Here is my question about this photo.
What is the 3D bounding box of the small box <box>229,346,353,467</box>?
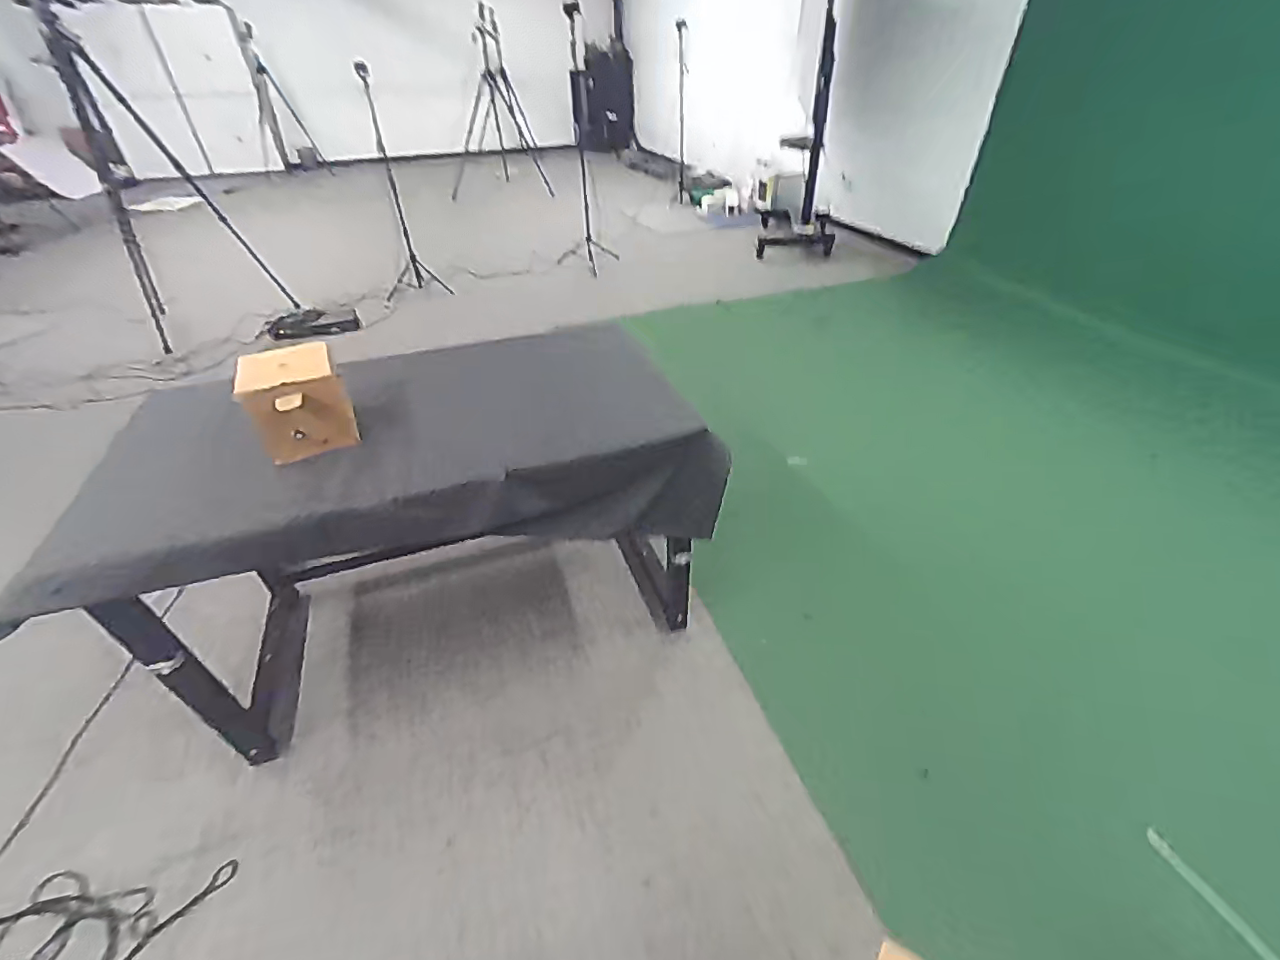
[{"bbox_3d":[-0.713,-0.153,1.117,0.168,0.176,0.179,-19,42,-22],"label":"small box"}]
